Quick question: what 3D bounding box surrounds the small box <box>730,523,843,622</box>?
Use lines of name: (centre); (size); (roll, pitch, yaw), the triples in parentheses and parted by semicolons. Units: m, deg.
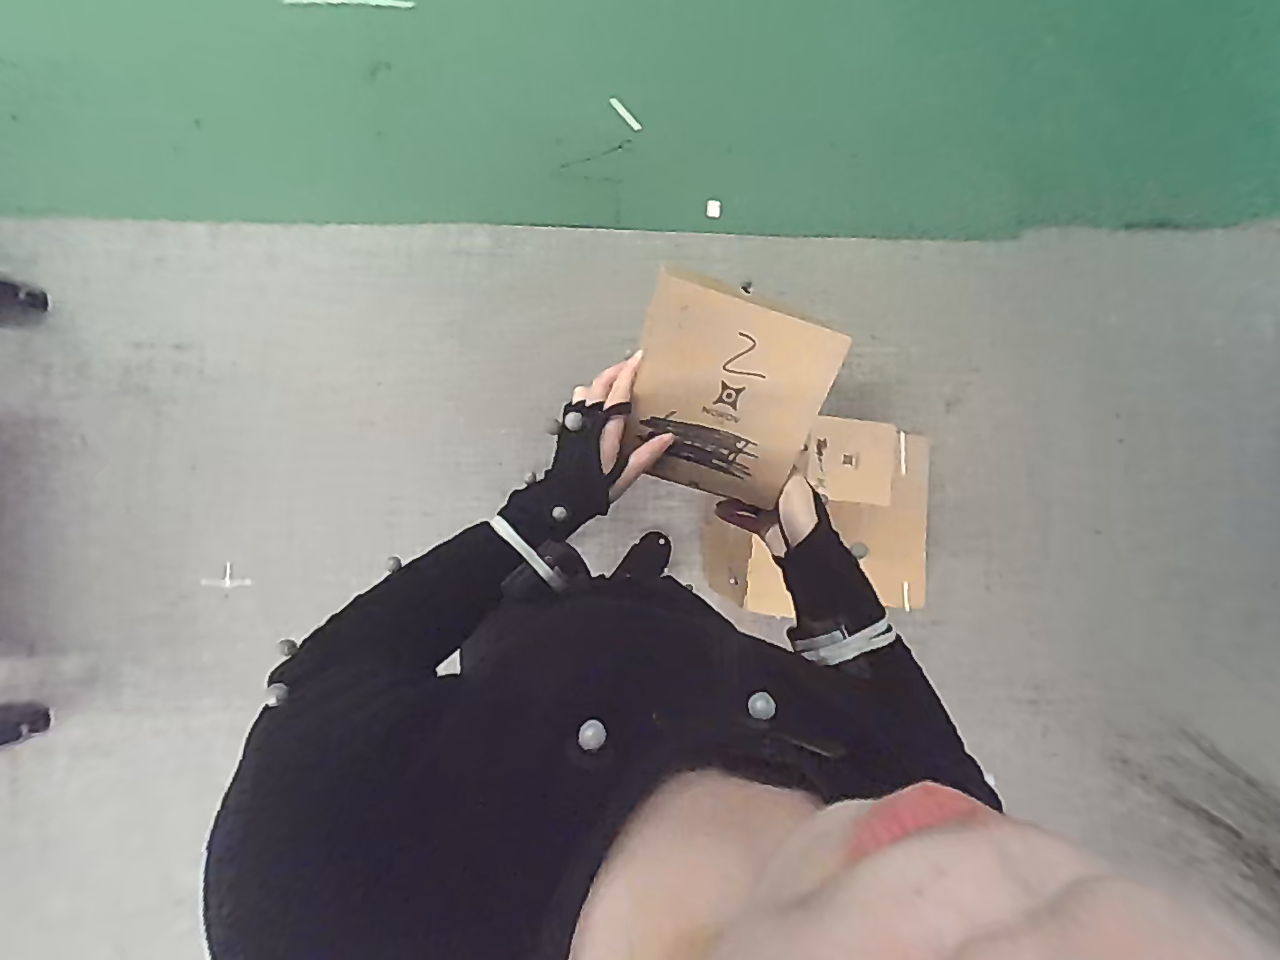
small box: (0.292, 0.183, 1.116); (0.179, 0.176, 0.168); (8, 88, -3)

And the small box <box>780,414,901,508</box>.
small box: (0.413, -0.033, 1.133); (0.179, 0.176, 0.168); (7, 86, -4)
